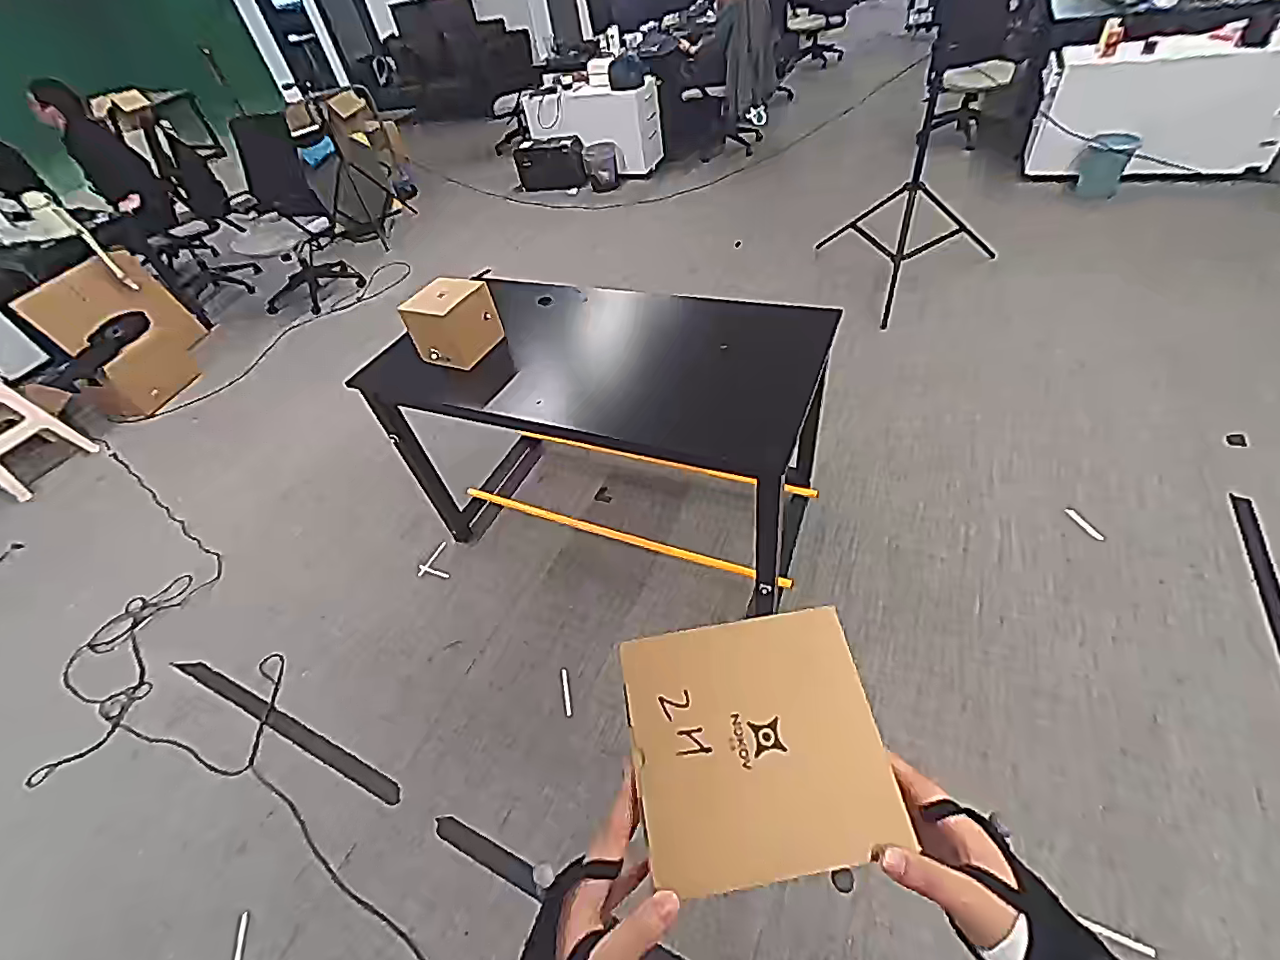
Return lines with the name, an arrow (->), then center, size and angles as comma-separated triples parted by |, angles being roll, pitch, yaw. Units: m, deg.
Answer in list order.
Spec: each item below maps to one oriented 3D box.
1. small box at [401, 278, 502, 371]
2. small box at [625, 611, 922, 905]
small box -> -0.497, -0.422, 1.460 | 0.168, 0.176, 0.179 | 13, 52, 23
small box -> 0.087, 0.223, 0.449 | 0.179, 0.176, 0.168 | -9, 59, -2
